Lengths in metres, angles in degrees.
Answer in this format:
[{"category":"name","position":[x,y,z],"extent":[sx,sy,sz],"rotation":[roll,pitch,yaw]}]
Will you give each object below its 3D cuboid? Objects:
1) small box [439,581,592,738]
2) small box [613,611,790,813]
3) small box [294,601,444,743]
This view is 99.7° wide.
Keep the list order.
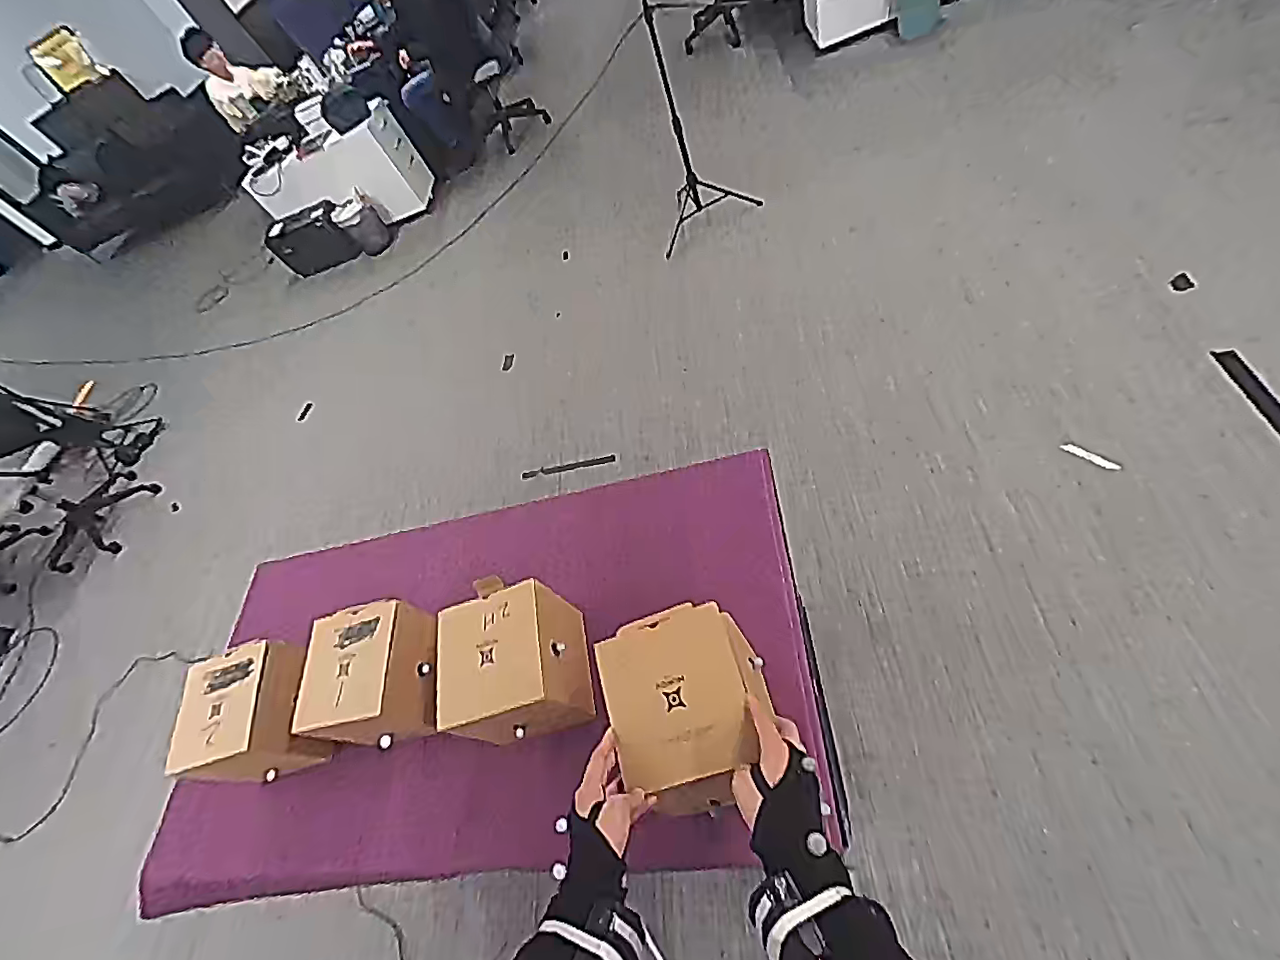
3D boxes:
[{"category":"small box","position":[-0.184,0.283,0.827],"extent":[0.168,0.176,0.179],"rotation":[-20,54,10]},{"category":"small box","position":[0.078,0.301,0.693],"extent":[0.168,0.176,0.179],"rotation":[-21,46,11]},{"category":"small box","position":[-0.423,0.324,0.901],"extent":[0.168,0.176,0.179],"rotation":[-15,55,13]}]
